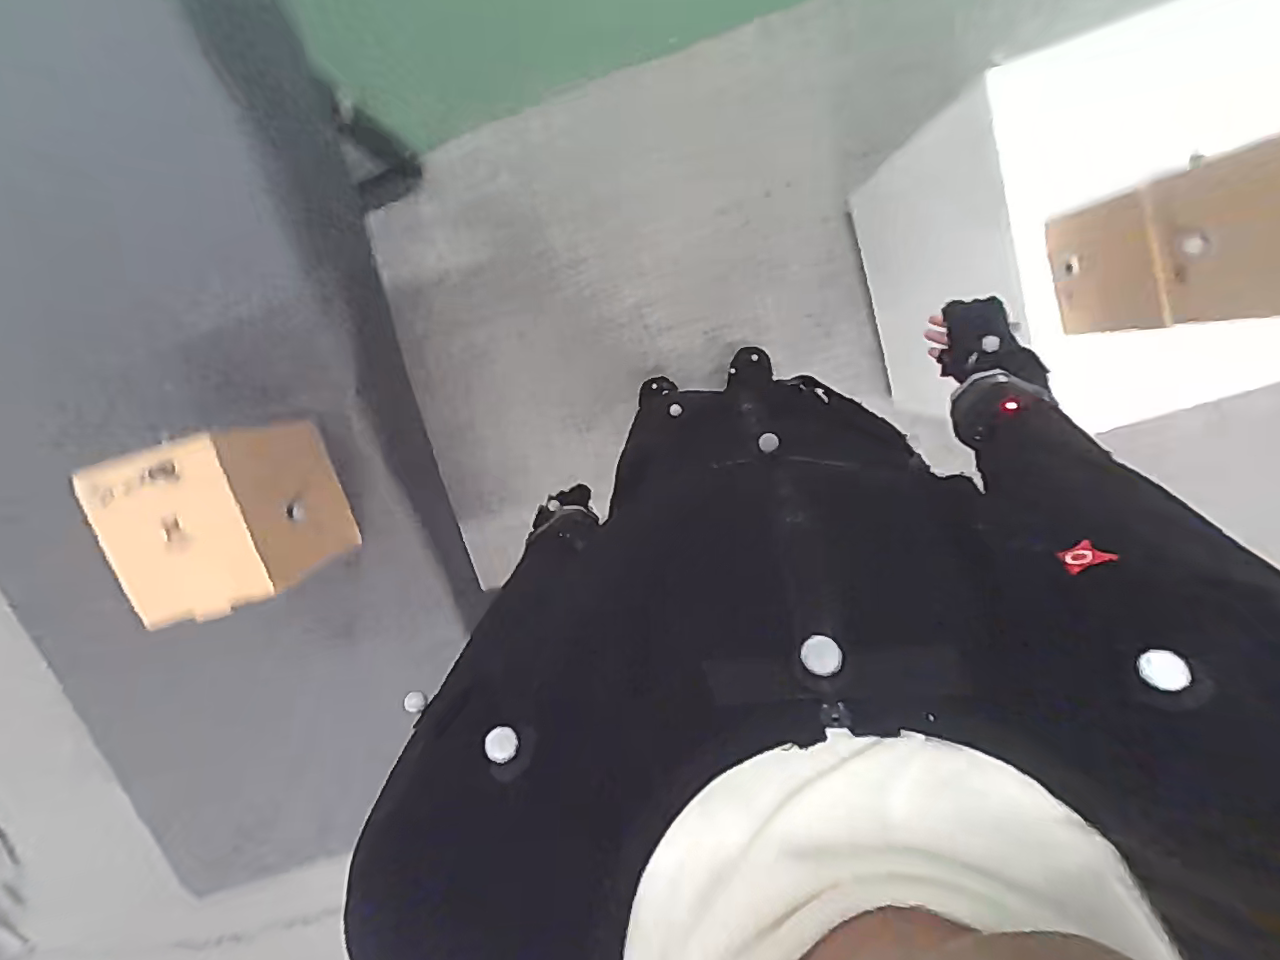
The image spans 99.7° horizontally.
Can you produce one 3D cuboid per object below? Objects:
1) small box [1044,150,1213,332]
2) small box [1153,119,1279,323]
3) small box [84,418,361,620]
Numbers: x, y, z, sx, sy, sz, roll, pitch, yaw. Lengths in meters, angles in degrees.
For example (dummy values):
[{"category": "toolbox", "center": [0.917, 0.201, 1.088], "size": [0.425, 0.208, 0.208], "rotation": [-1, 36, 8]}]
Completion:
[{"category": "small box", "center": [0.639, -0.287, 0.645], "size": [0.179, 0.176, 0.168], "rotation": [-20, 100, 9]}, {"category": "small box", "center": [0.634, -0.255, 0.484], "size": [0.179, 0.176, 0.168], "rotation": [-24, 100, 7]}, {"category": "small box", "center": [-0.476, 0.037, 0.651], "size": [0.168, 0.176, 0.179], "rotation": [-15, 102, 8]}]
